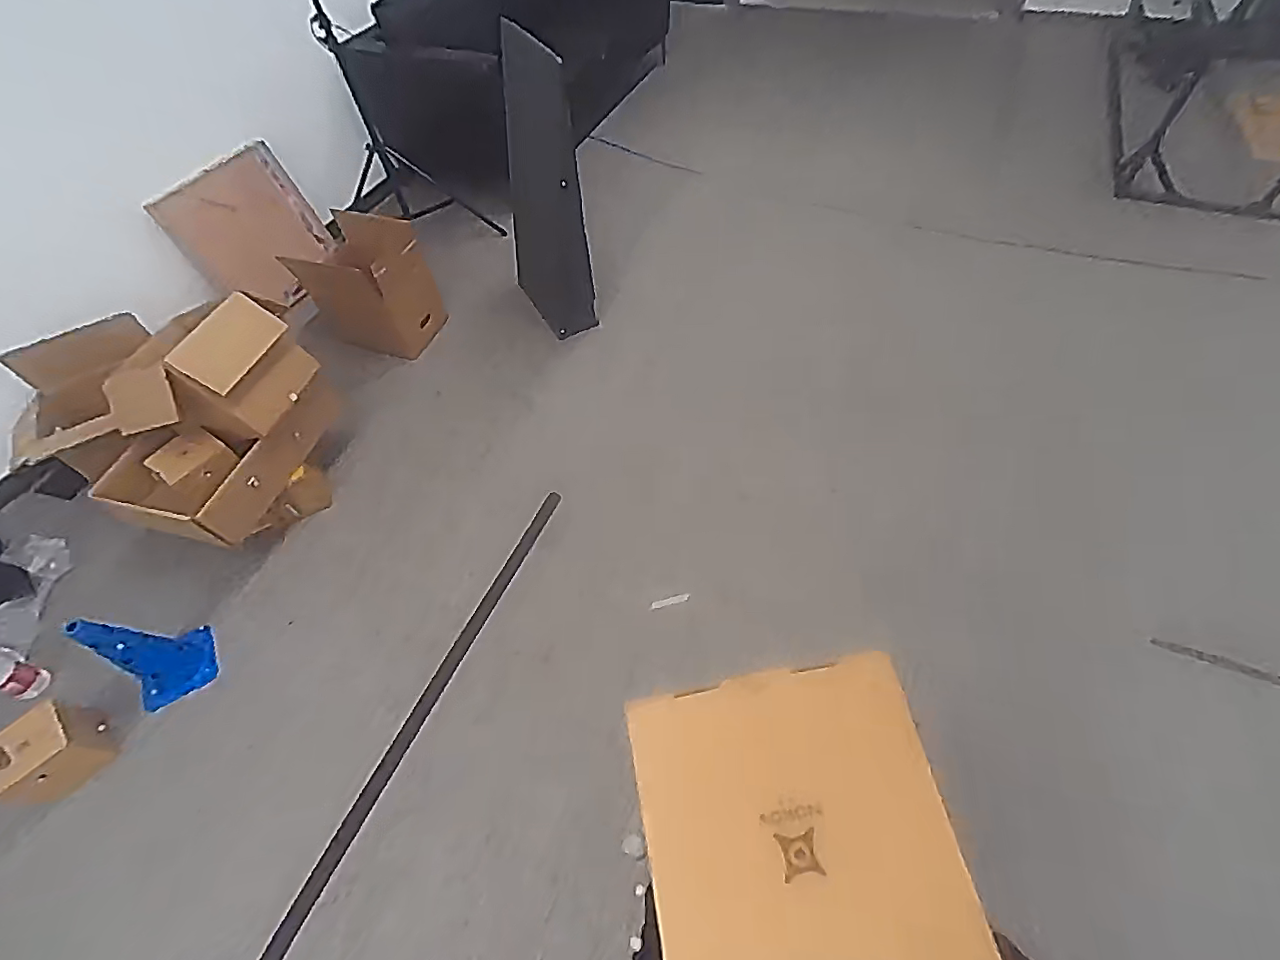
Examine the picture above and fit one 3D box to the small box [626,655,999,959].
[{"bbox_3d":[0.094,0.232,0.361,0.168,0.176,0.179,-12,61,1],"label":"small box"}]
